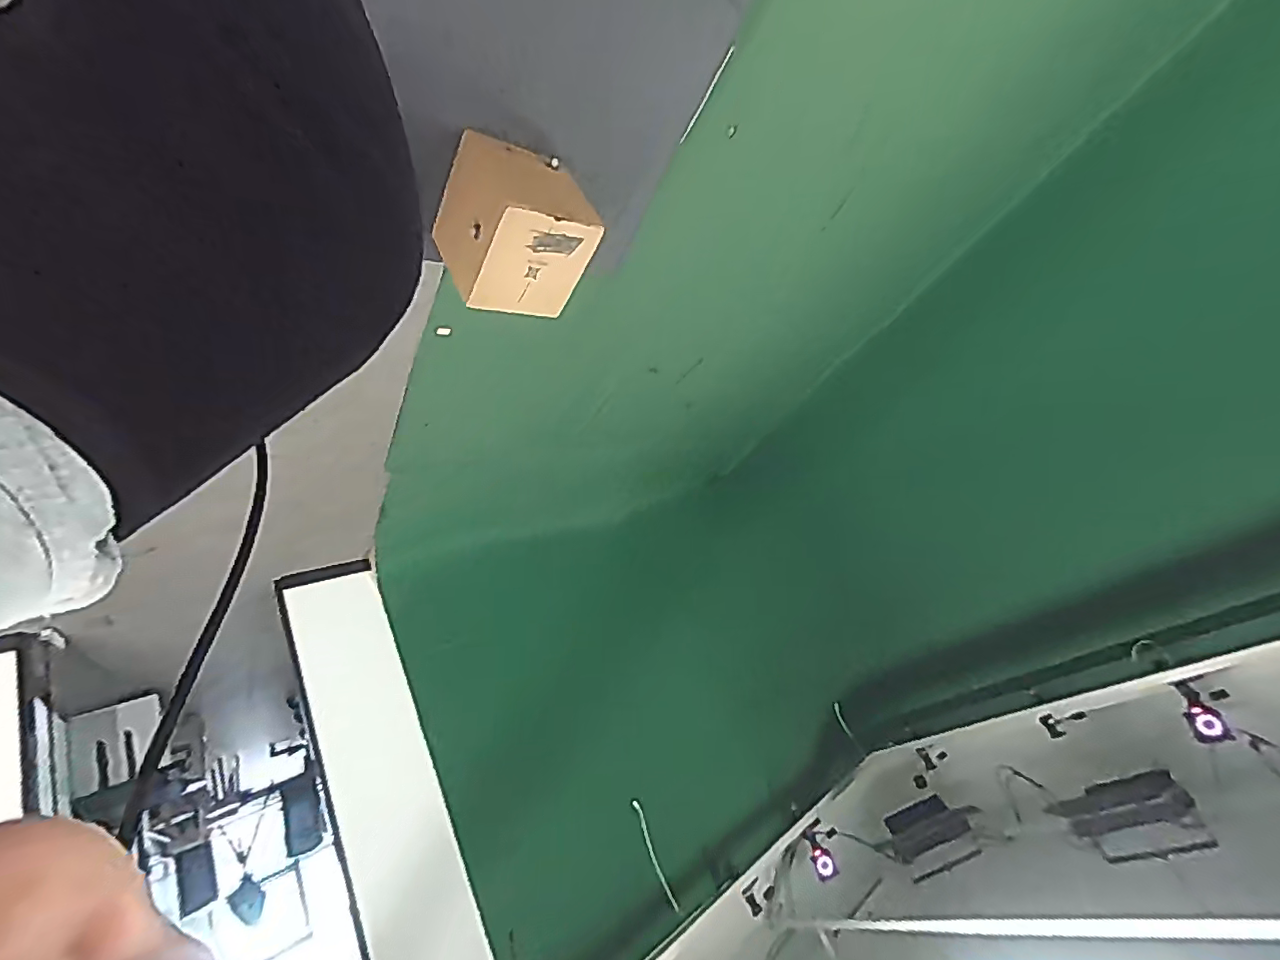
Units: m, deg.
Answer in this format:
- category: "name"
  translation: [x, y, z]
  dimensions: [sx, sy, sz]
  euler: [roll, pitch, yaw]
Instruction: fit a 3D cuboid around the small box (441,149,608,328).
- category: "small box"
  translation: [-0.184, -0.361, 0.828]
  dimensions: [0.168, 0.176, 0.179]
  euler: [-8, 150, -42]
